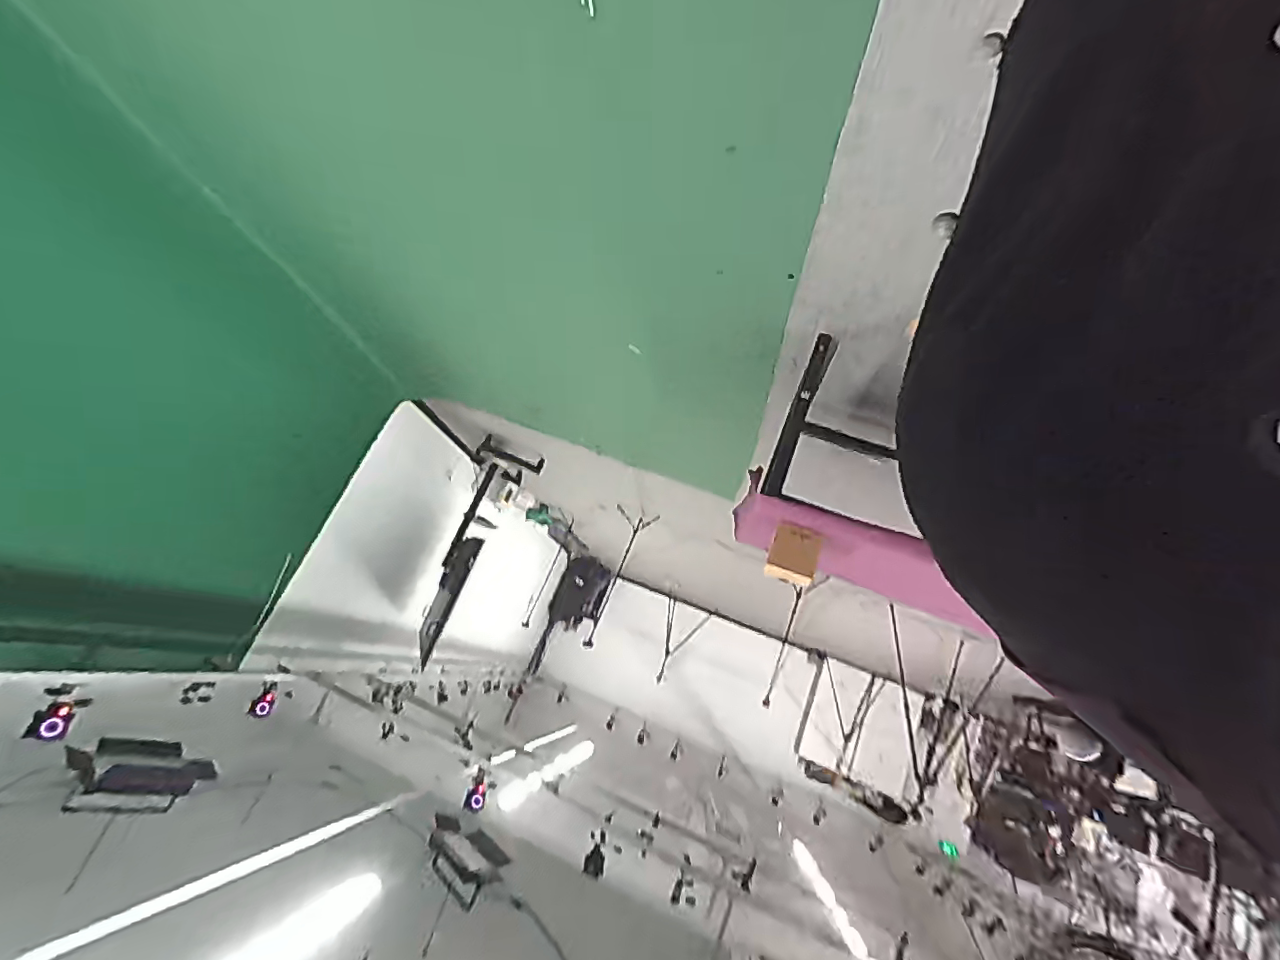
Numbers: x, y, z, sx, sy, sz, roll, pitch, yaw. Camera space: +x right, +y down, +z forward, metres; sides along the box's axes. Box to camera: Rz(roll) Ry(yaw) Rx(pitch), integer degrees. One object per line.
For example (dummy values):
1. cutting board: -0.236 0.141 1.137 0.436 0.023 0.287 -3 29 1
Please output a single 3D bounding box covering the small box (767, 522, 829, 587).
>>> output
1. small box: 0.565 0.267 1.935 0.168 0.176 0.179 18 164 14
